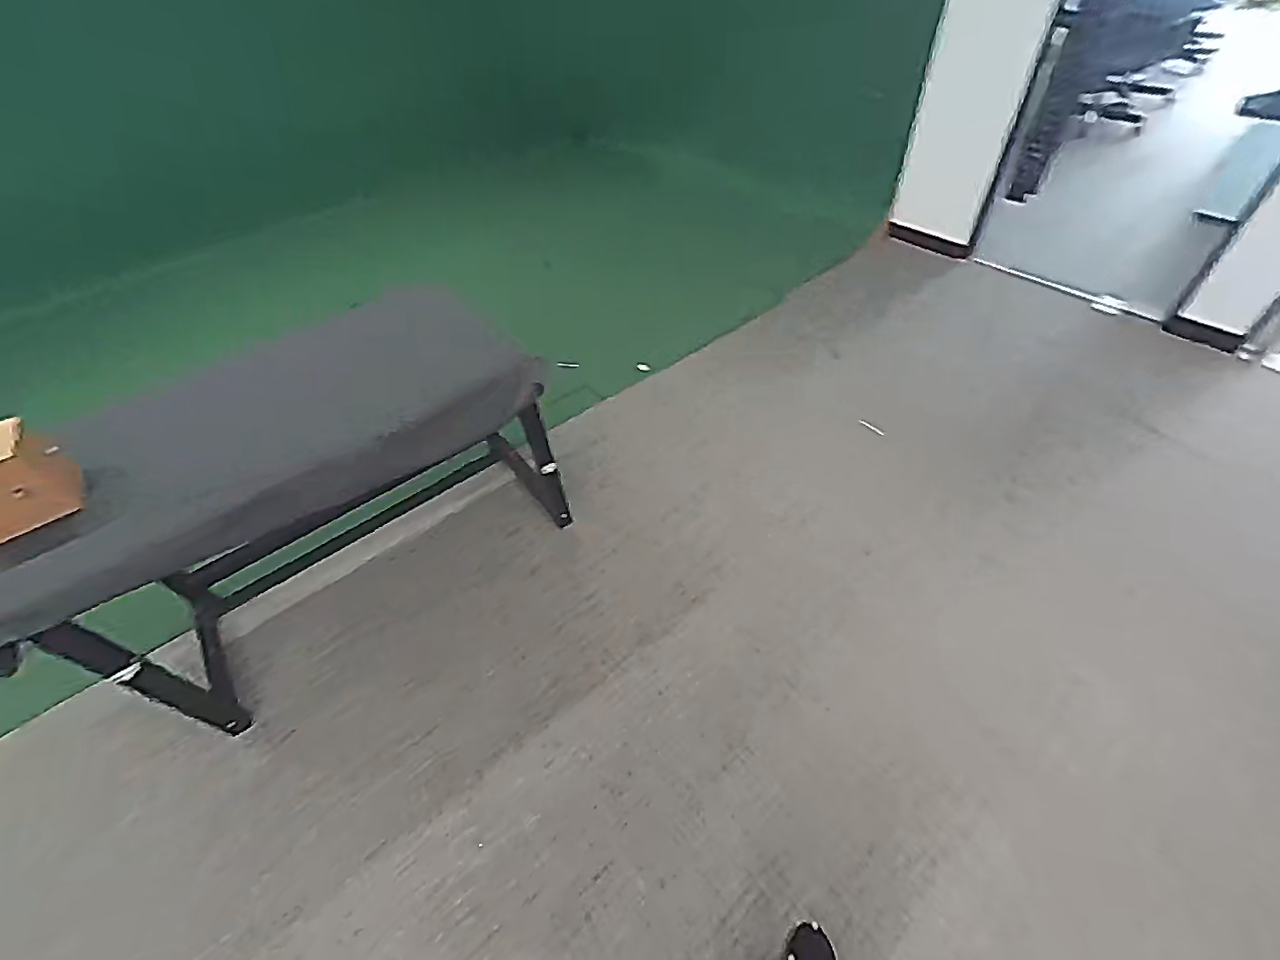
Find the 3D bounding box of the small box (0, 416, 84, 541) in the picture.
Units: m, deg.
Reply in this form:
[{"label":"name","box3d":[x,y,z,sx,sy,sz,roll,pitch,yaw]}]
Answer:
[{"label":"small box","box3d":[-1.339,0.002,1.139,0.179,0.176,0.168,-29,50,-19]}]
